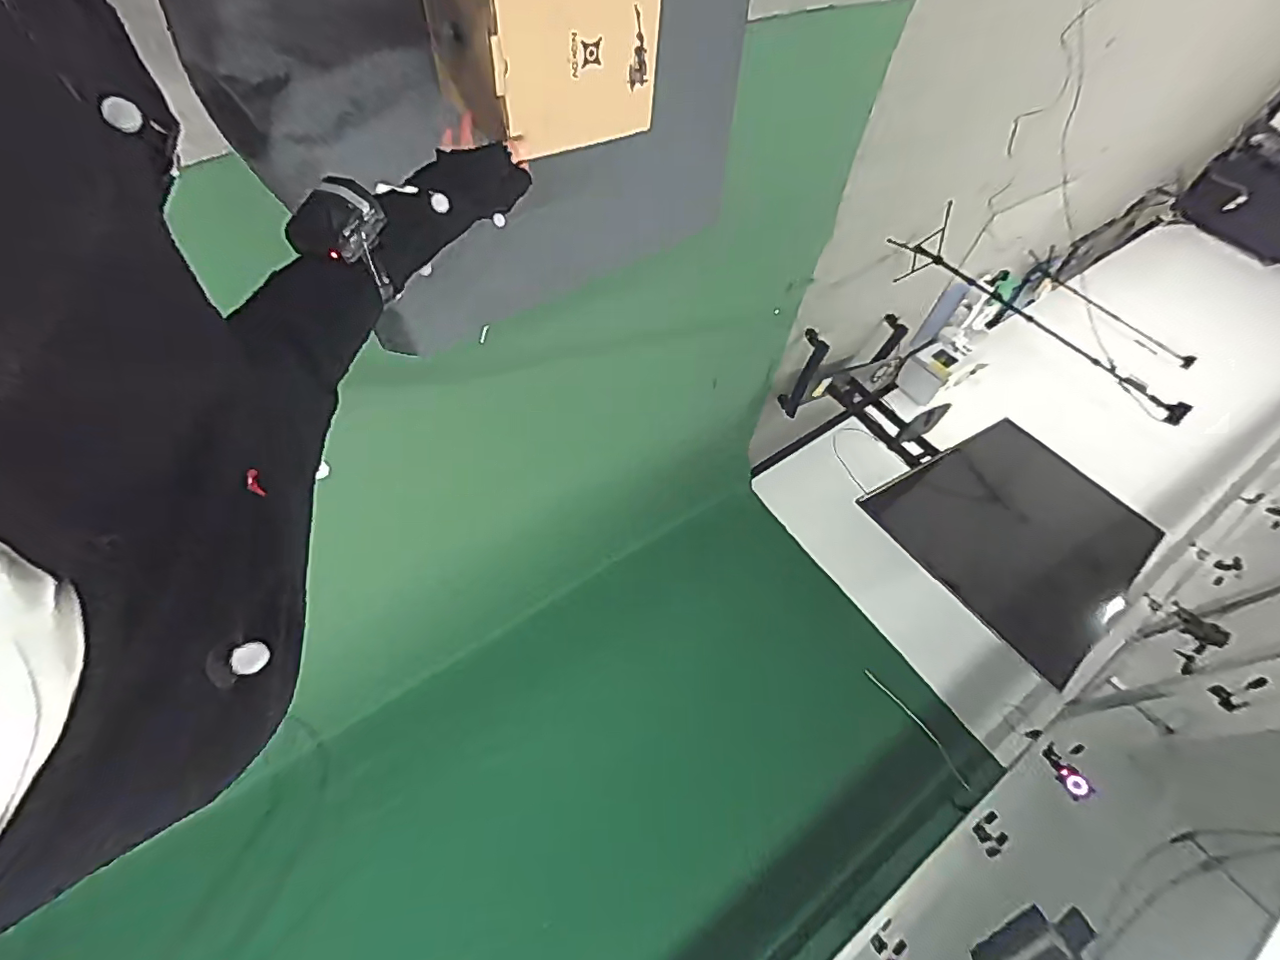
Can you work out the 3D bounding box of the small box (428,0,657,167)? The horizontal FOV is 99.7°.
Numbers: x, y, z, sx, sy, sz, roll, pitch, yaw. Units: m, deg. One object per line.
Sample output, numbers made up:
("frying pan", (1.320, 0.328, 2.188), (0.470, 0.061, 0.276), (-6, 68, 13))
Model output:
("small box", (-0.103, -0.450, 0.542), (0.179, 0.176, 0.168), (-28, 152, -22))
